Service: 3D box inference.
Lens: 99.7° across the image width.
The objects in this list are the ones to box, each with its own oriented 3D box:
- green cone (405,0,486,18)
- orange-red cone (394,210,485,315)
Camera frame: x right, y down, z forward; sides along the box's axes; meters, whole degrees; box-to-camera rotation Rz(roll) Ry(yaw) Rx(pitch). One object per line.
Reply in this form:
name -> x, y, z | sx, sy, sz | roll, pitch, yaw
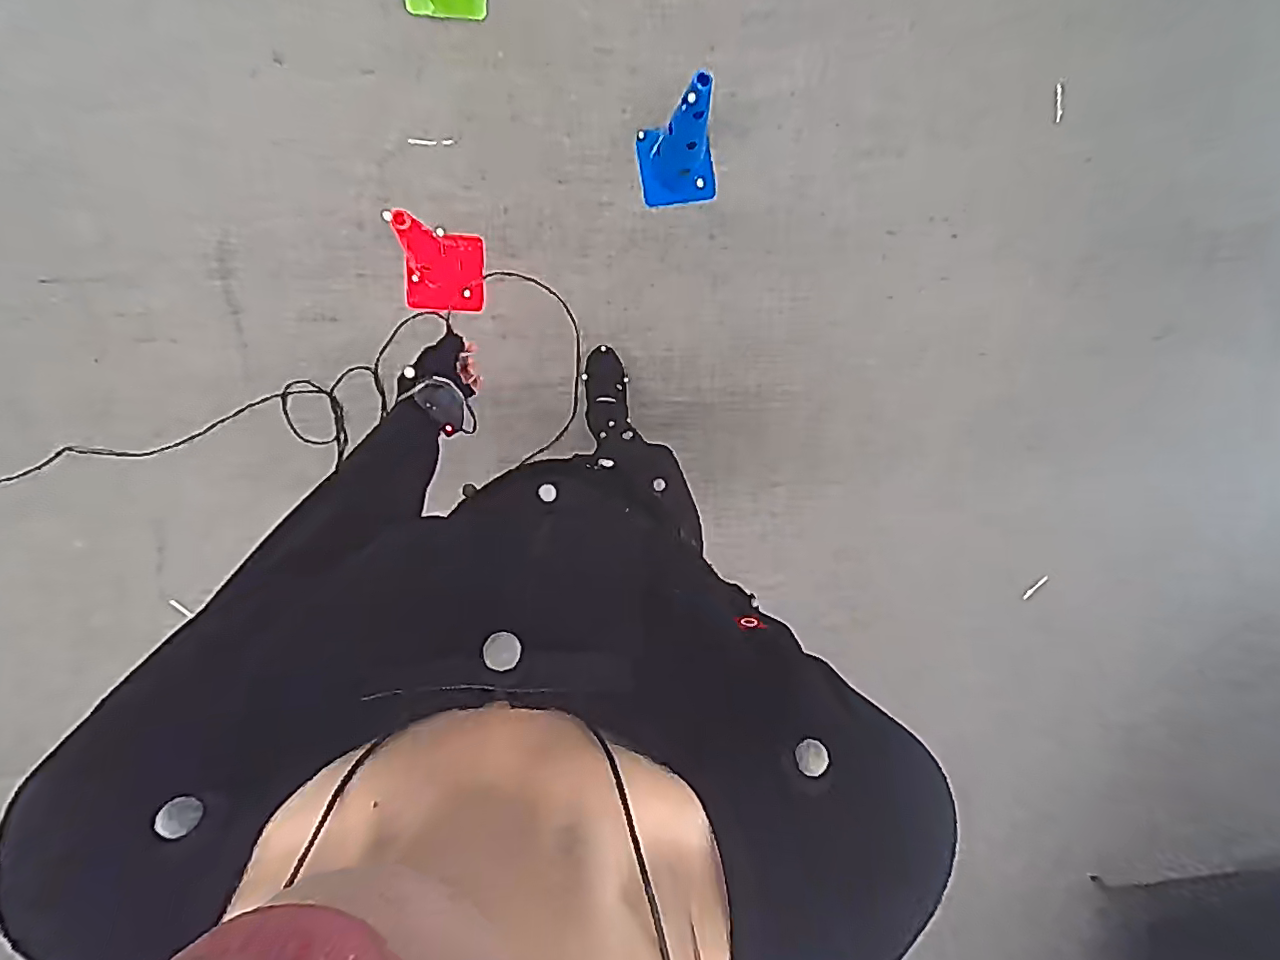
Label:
green cone -> -0.477, -1.259, 1.187 | 0.200, 0.368, 0.202 | 0, 95, -5
orange-red cone -> -0.490, -0.529, 1.244 | 0.198, 0.360, 0.199 | 2, 92, -6
